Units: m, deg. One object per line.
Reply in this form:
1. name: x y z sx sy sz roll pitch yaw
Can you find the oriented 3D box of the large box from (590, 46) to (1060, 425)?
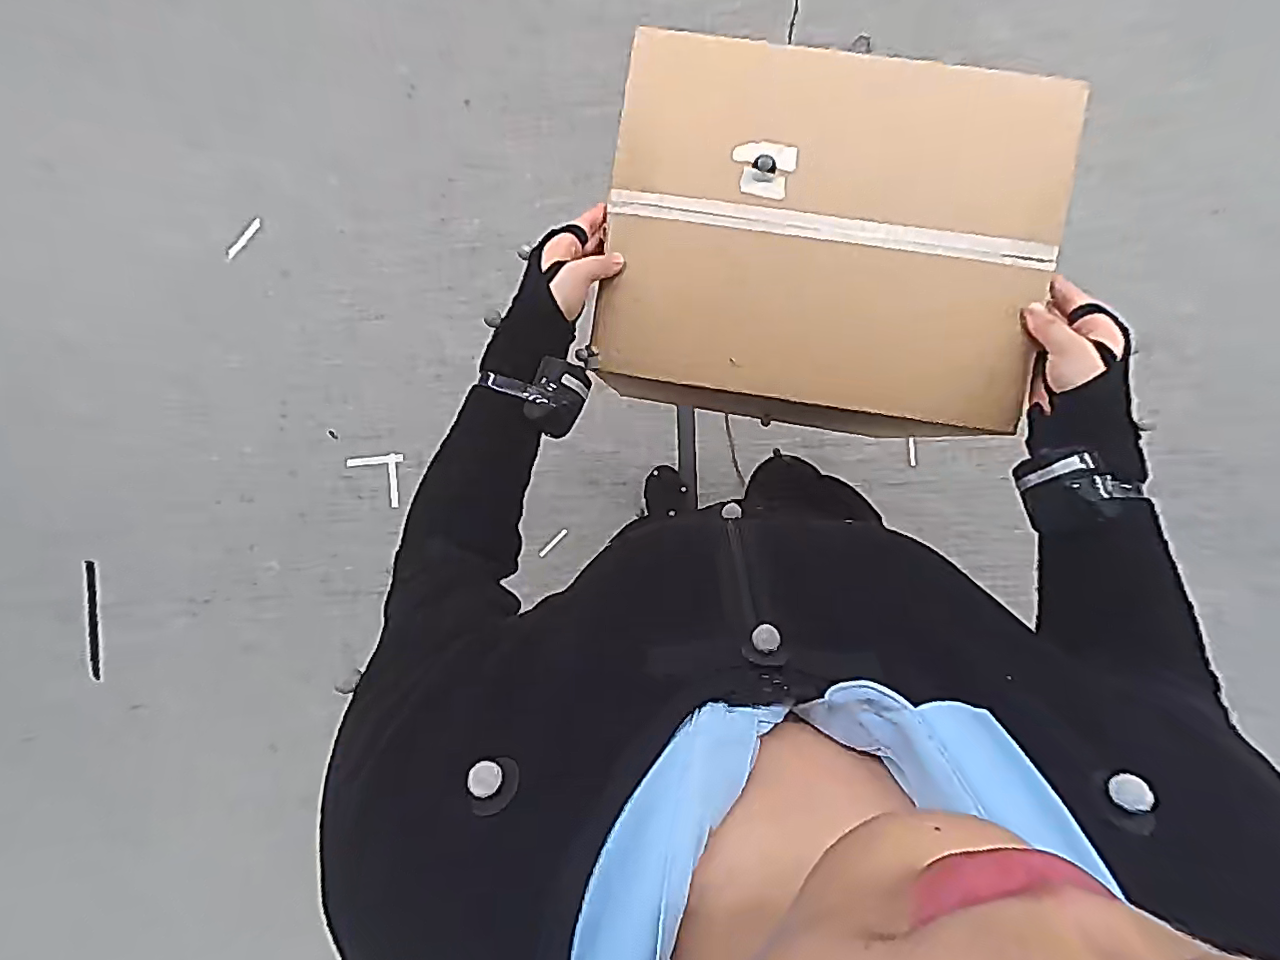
1. large box: 0.176 -0.244 0.657 0.408 0.320 0.320 8 93 3
